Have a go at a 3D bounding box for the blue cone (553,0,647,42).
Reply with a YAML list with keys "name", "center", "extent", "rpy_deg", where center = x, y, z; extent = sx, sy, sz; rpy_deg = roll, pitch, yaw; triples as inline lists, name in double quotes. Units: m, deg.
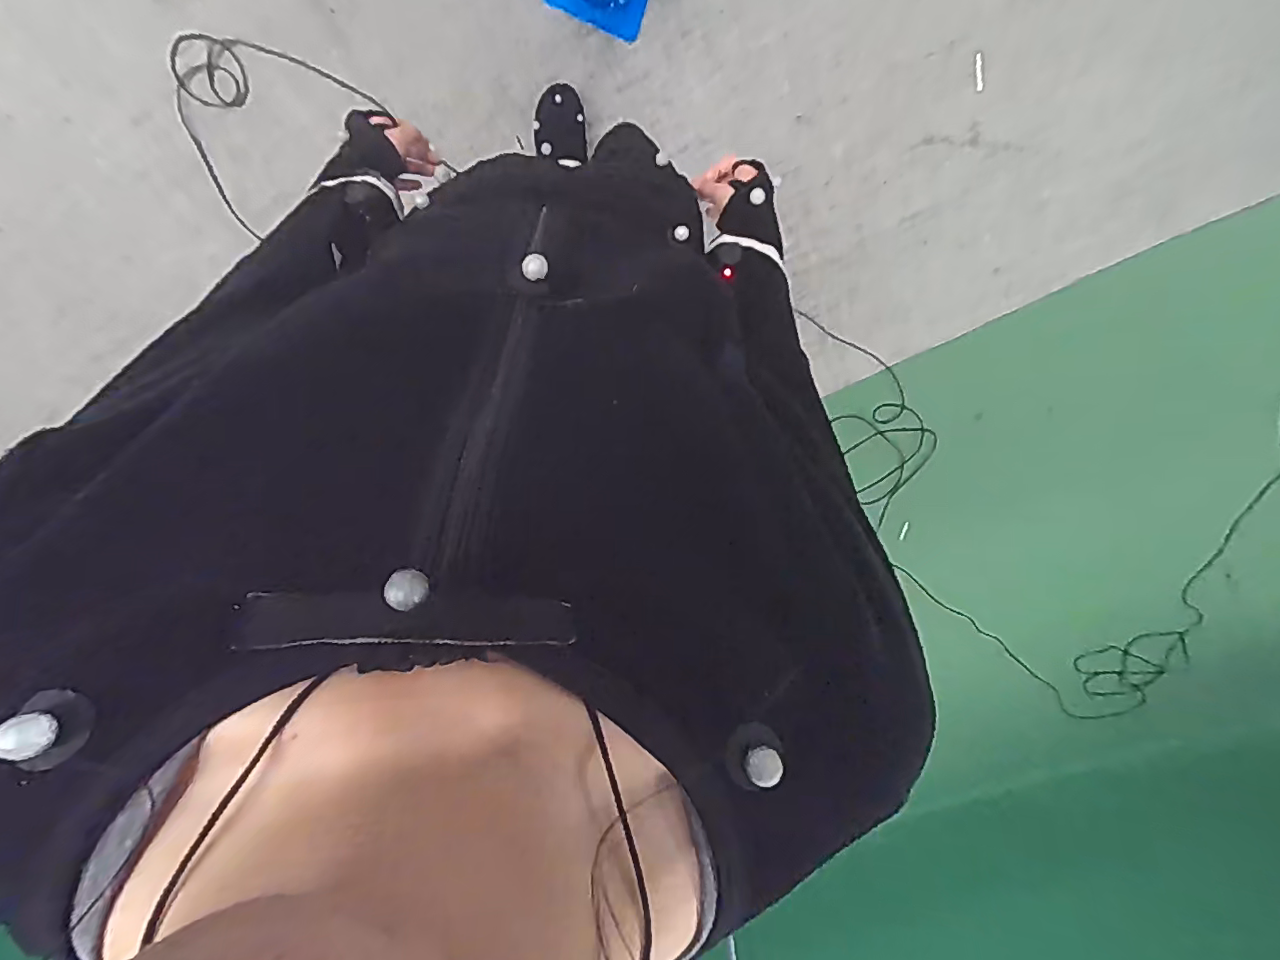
- name: "blue cone"
  center: [-0.054, -0.854, 0.859]
  extent: [0.192, 0.380, 0.193]
  rpy_deg: [14, 122, -13]
